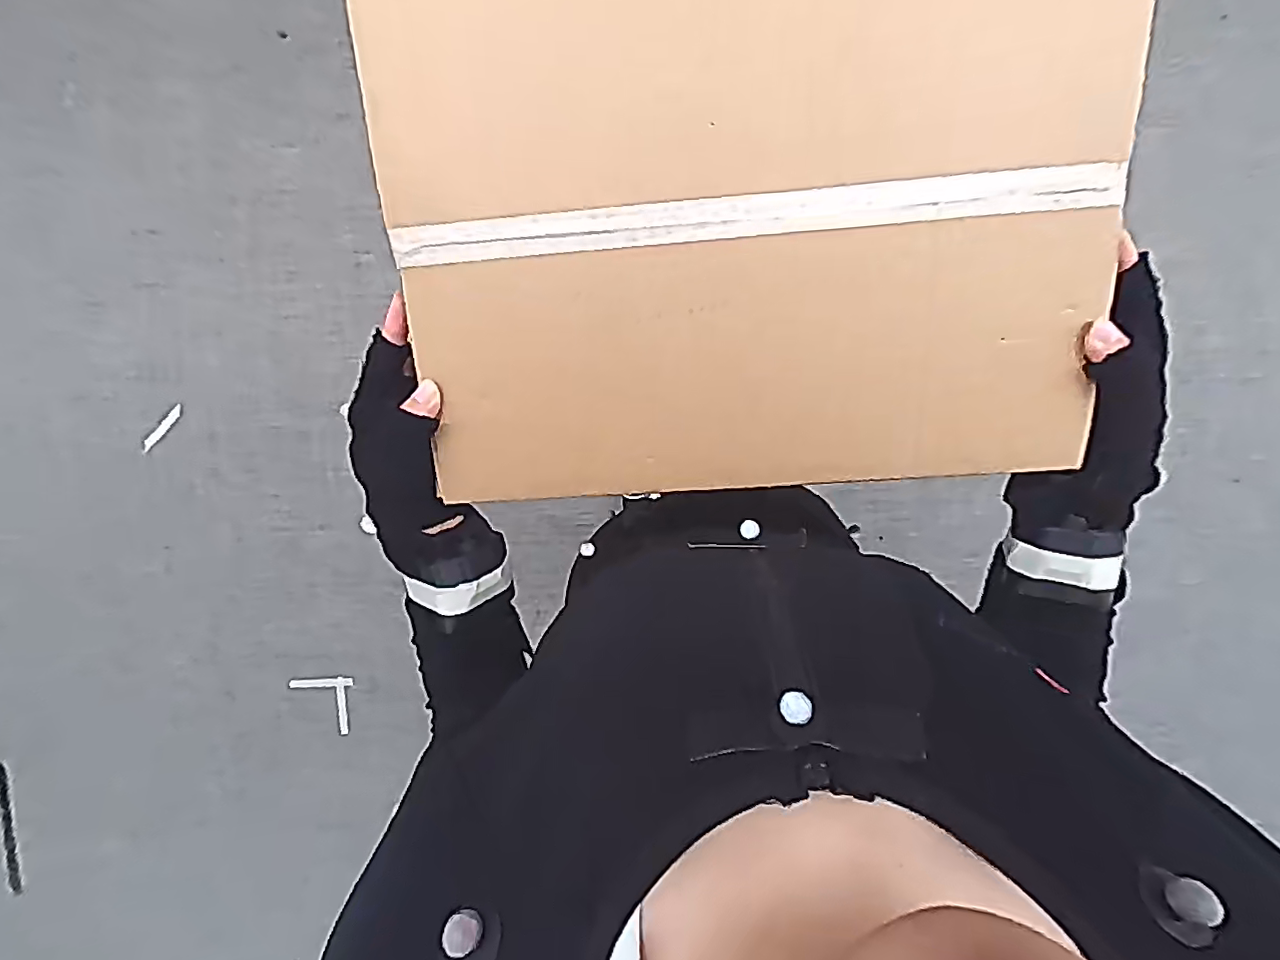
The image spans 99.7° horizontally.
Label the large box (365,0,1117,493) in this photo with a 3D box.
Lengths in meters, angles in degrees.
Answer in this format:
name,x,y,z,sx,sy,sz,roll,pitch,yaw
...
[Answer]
name,x,y,z,sx,sy,sz,roll,pitch,yaw
large box,0.061,-0.191,0.460,0.408,0.320,0.320,-4,106,3
